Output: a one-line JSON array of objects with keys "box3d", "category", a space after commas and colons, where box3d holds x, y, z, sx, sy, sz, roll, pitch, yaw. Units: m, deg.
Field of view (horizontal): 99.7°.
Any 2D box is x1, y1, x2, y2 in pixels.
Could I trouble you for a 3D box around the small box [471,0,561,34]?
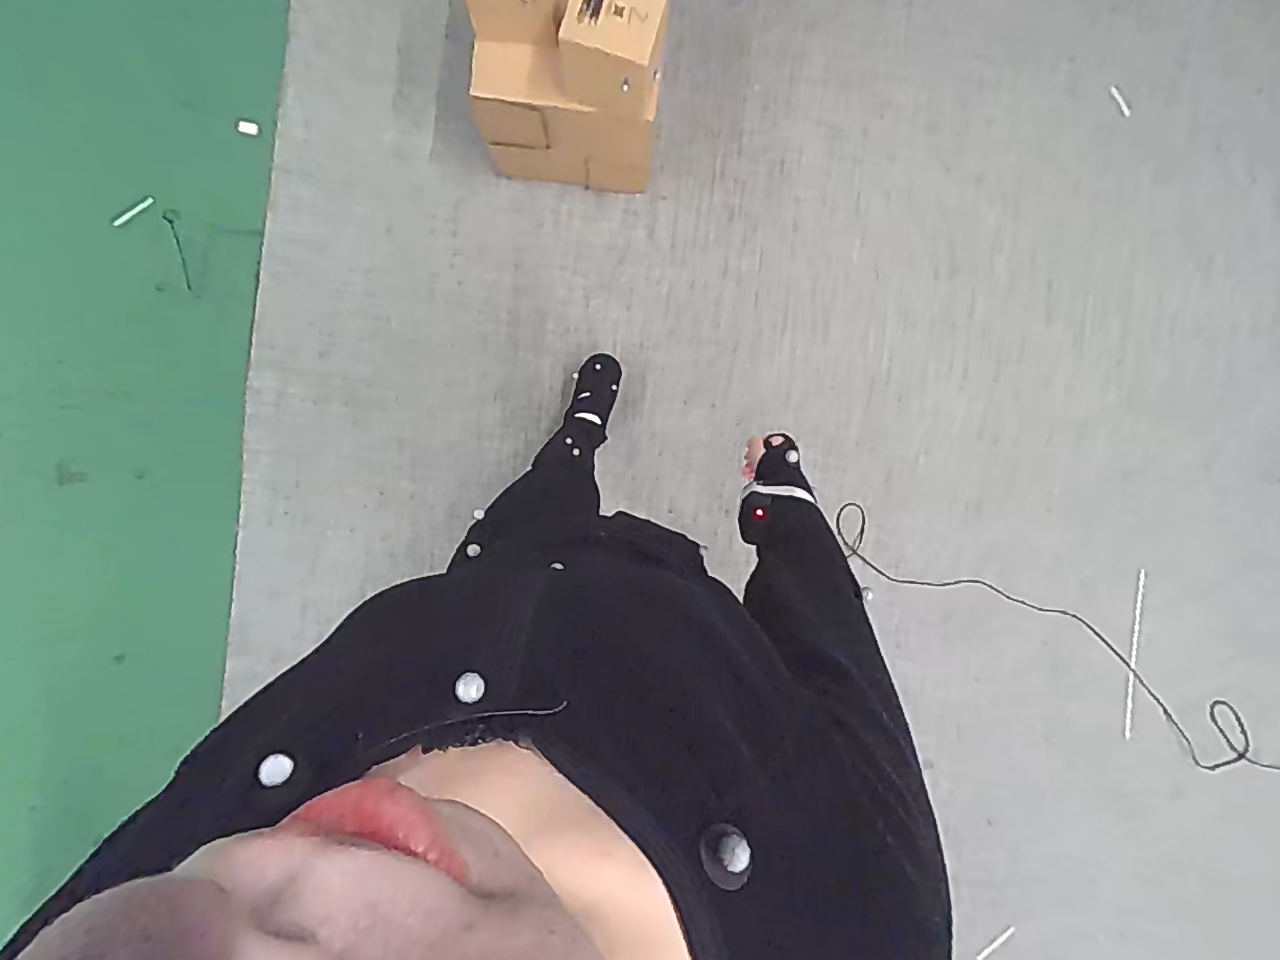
[{"box3d": [-0.245, -1.029, 1.062, 0.179, 0.176, 0.168, 5, 89, -2], "category": "small box"}]
